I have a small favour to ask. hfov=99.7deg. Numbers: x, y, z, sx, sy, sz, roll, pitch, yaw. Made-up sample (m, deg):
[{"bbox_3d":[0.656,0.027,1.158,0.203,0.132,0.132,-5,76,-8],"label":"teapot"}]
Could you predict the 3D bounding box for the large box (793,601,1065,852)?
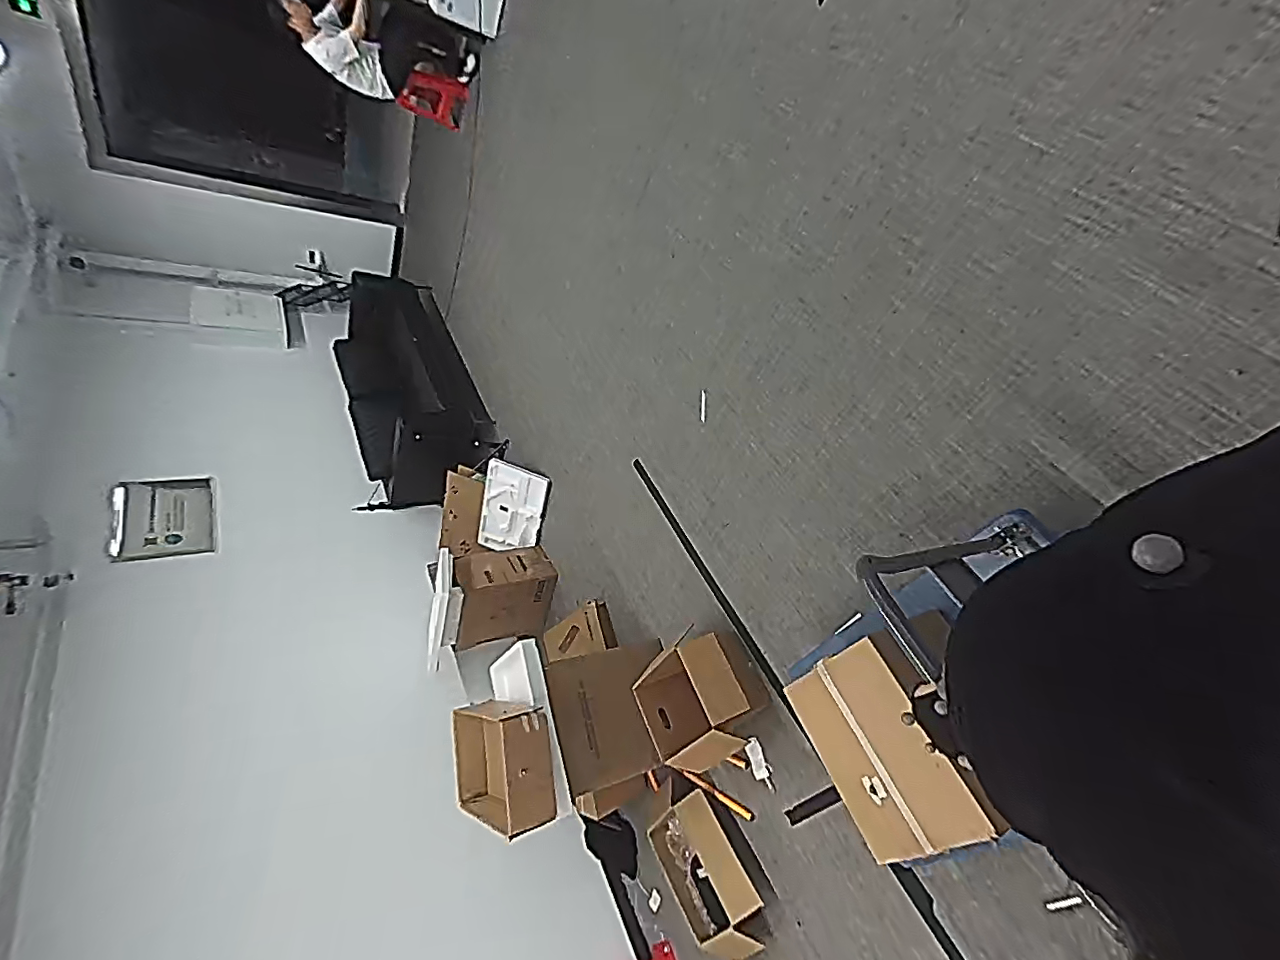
[{"bbox_3d":[0.648,0.551,1.257,0.408,0.320,0.320,62,139,29],"label":"large box"}]
